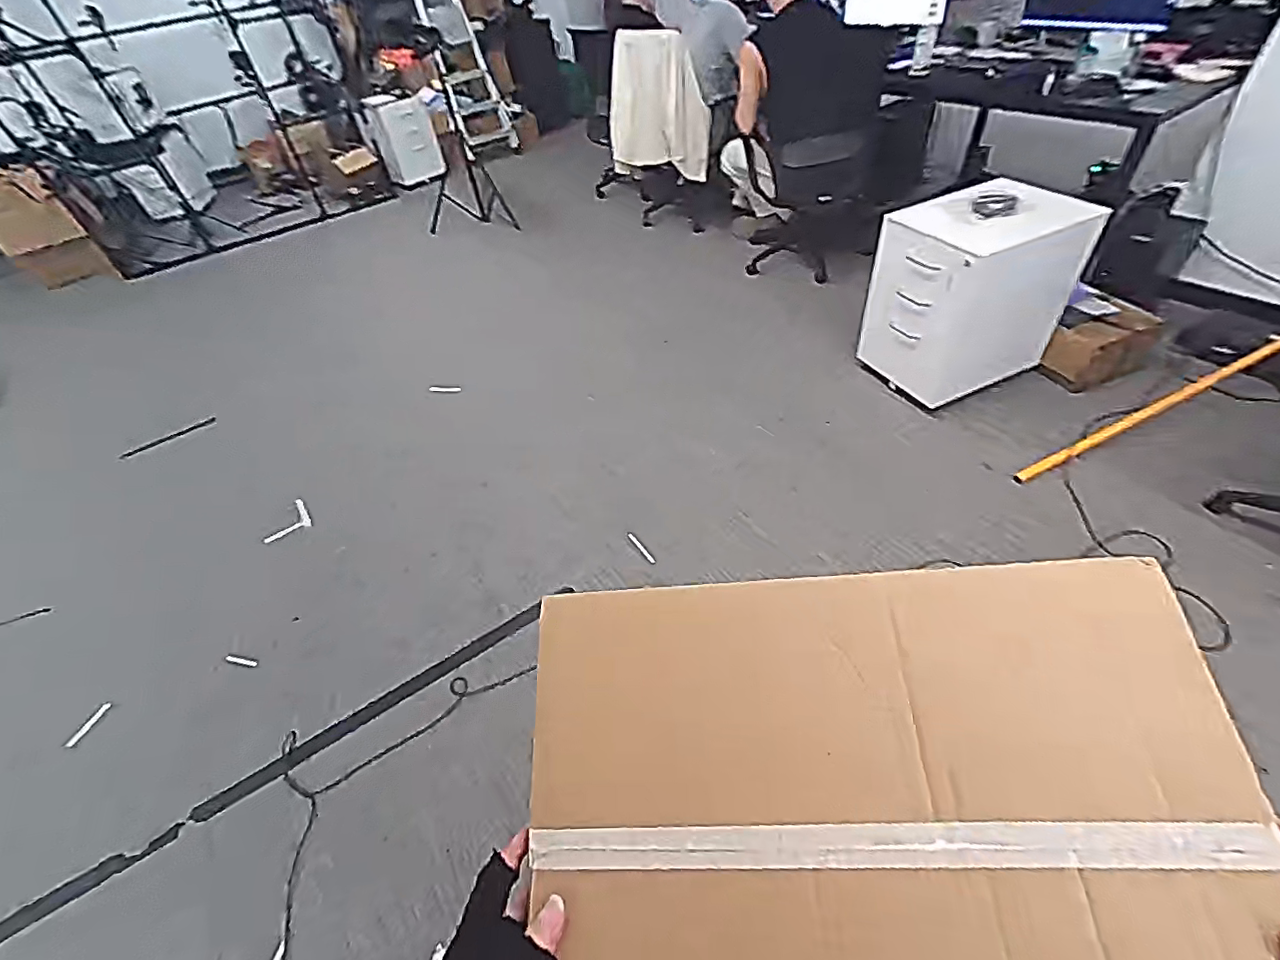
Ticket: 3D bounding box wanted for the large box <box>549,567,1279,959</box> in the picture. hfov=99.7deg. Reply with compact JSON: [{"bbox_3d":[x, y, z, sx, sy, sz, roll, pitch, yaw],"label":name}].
[{"bbox_3d":[0.162,0.279,0.450,0.408,0.320,0.320,-6,65,8],"label":"large box"}]
